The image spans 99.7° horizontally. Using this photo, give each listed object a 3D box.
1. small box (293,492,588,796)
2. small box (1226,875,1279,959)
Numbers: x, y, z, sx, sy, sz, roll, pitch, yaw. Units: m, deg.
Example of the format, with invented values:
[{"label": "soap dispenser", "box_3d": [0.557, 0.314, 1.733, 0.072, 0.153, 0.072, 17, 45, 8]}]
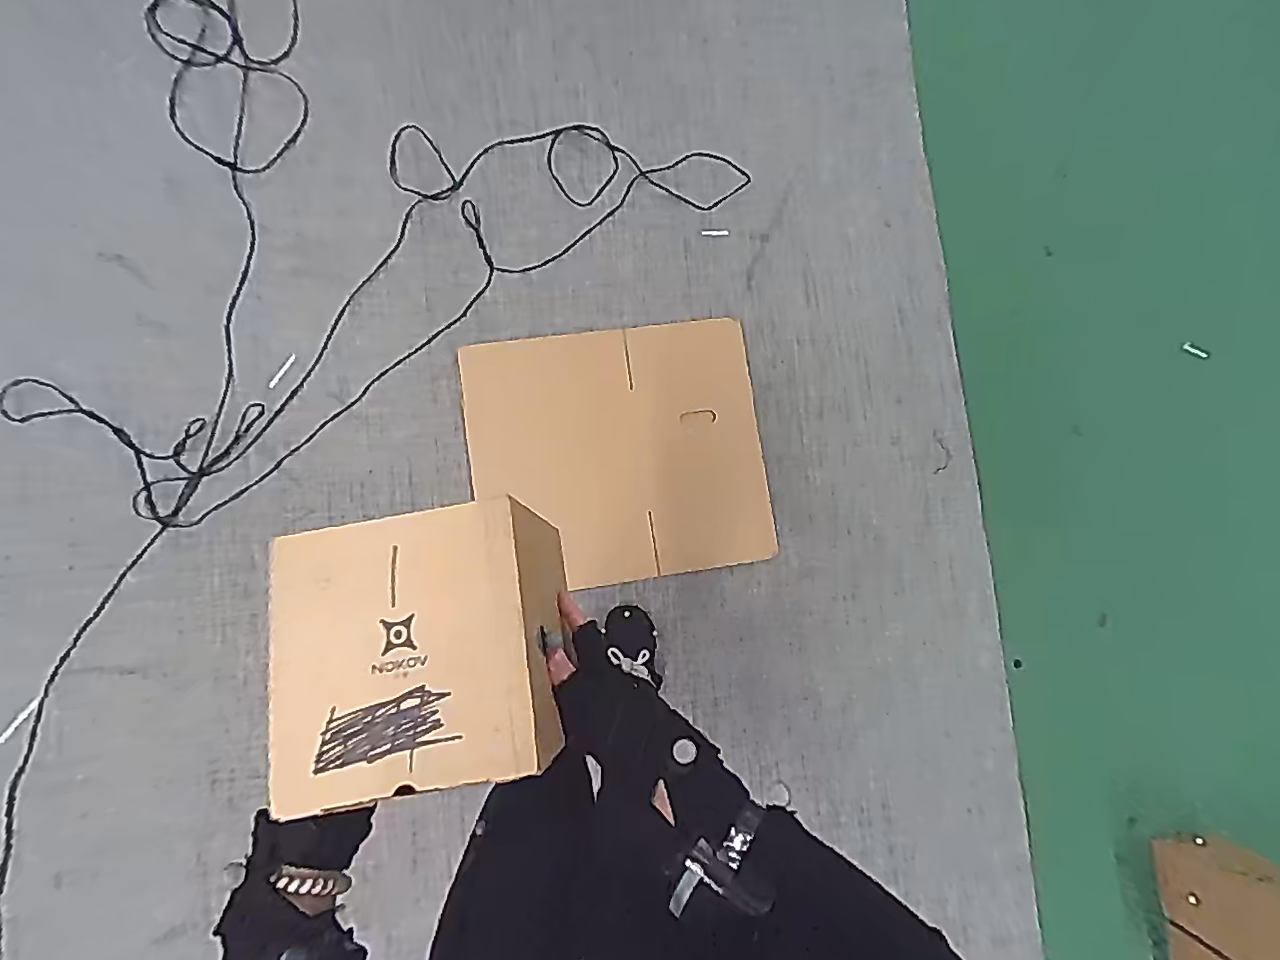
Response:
[{"label": "small box", "box_3d": [-0.142, 0.122, 0.434, 0.168, 0.176, 0.179, -10, 75, 1]}, {"label": "small box", "box_3d": [1.371, 0.948, 1.110, 0.168, 0.176, 0.179, -2, 85, -5]}]
